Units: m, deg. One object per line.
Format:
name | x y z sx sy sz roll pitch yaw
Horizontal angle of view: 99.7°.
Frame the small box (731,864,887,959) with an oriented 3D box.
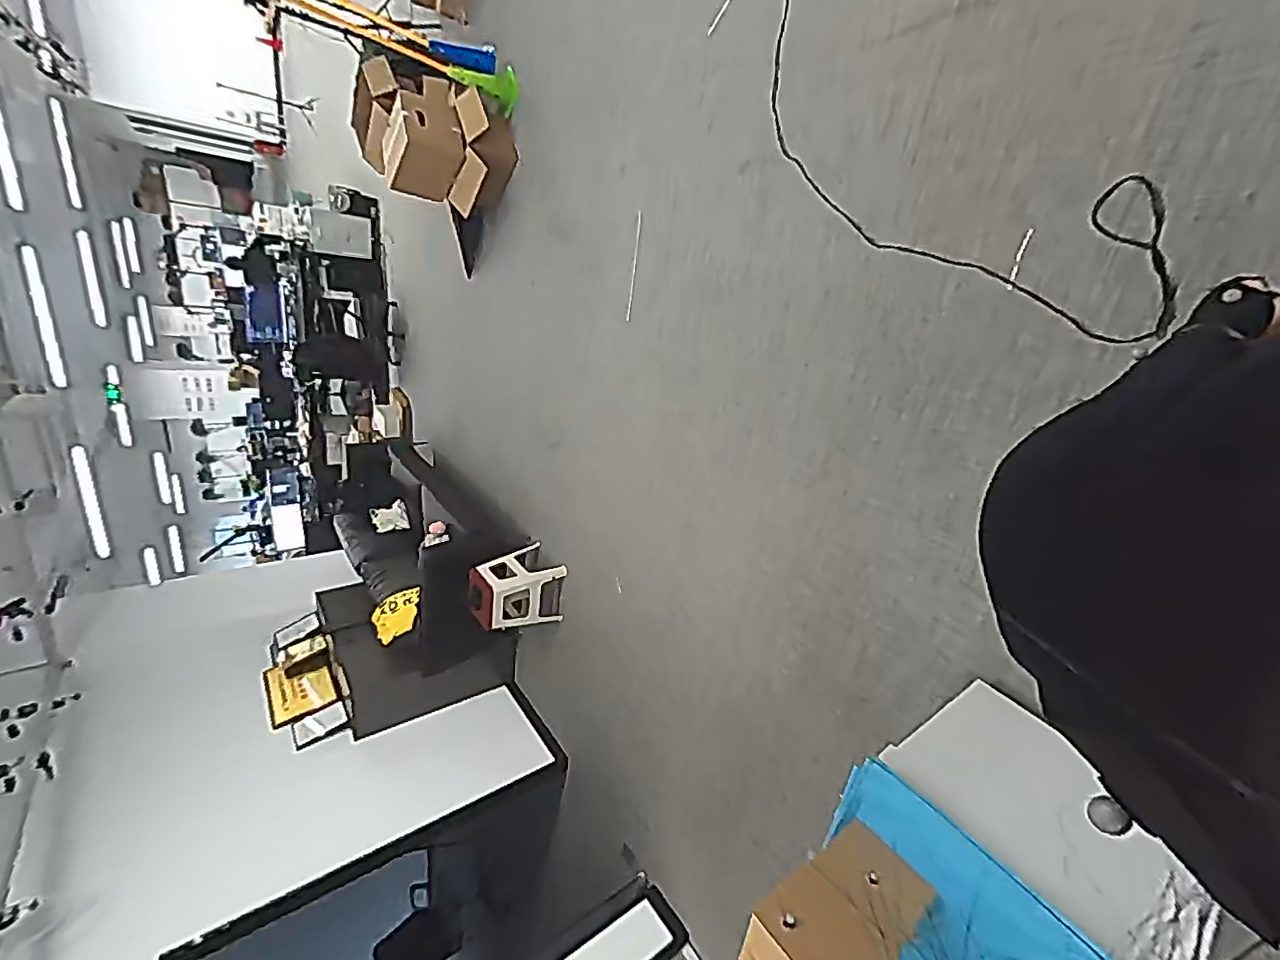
small box | 0.291 0.821 0.944 0.179 0.176 0.168 30 121 45
